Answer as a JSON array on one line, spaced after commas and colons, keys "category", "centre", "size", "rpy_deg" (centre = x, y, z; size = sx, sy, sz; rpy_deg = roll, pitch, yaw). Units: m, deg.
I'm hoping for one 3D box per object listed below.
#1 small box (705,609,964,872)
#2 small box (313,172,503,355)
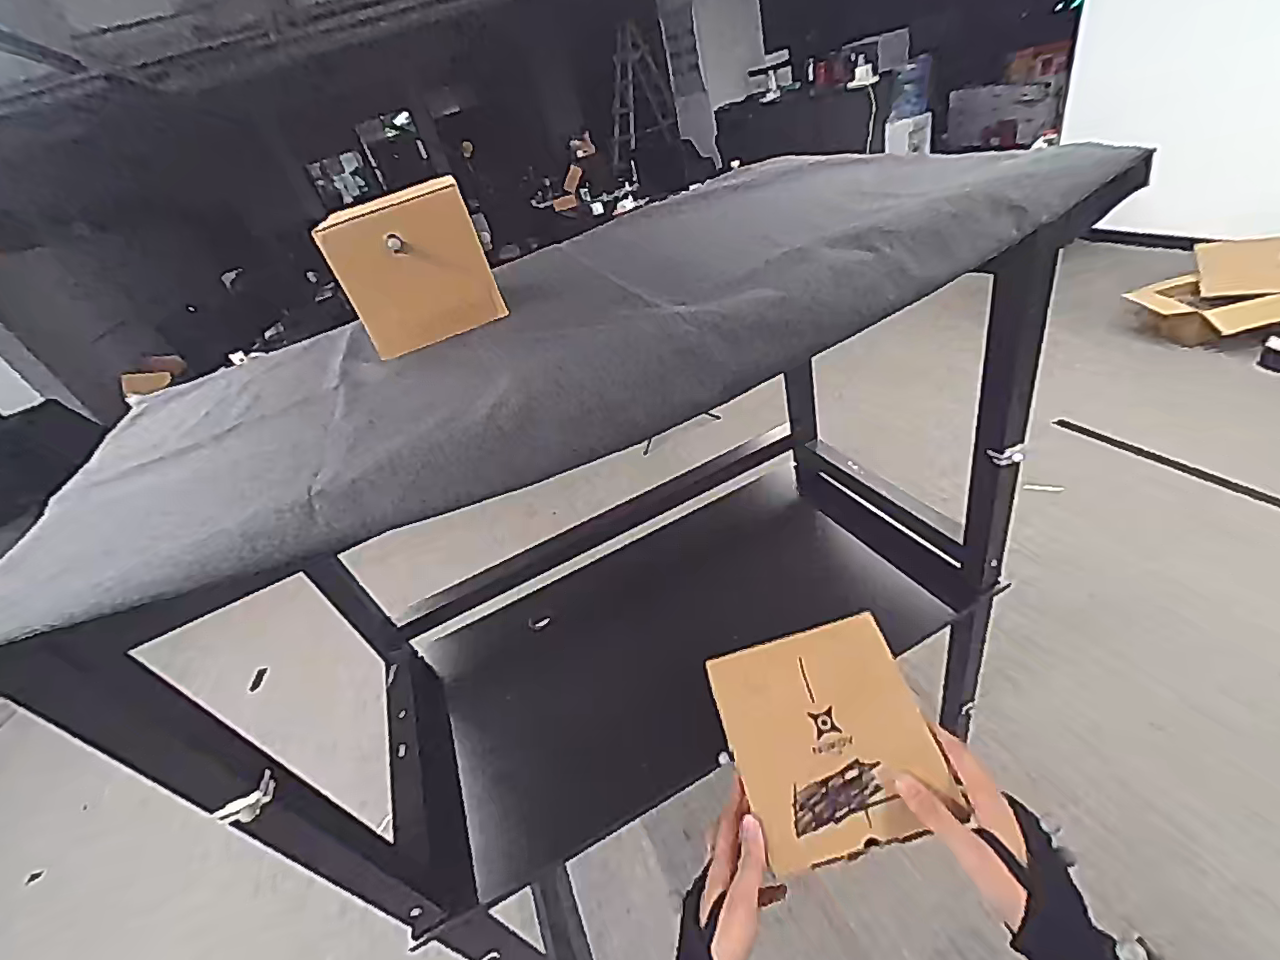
[{"category": "small box", "centre": [0.170, 0.251, 0.533], "size": [0.168, 0.176, 0.179], "rpy_deg": [-16, 59, 0]}, {"category": "small box", "centre": [-0.297, -0.294, 0.733], "size": [0.179, 0.176, 0.168], "rpy_deg": [-23, 36, -6]}]
